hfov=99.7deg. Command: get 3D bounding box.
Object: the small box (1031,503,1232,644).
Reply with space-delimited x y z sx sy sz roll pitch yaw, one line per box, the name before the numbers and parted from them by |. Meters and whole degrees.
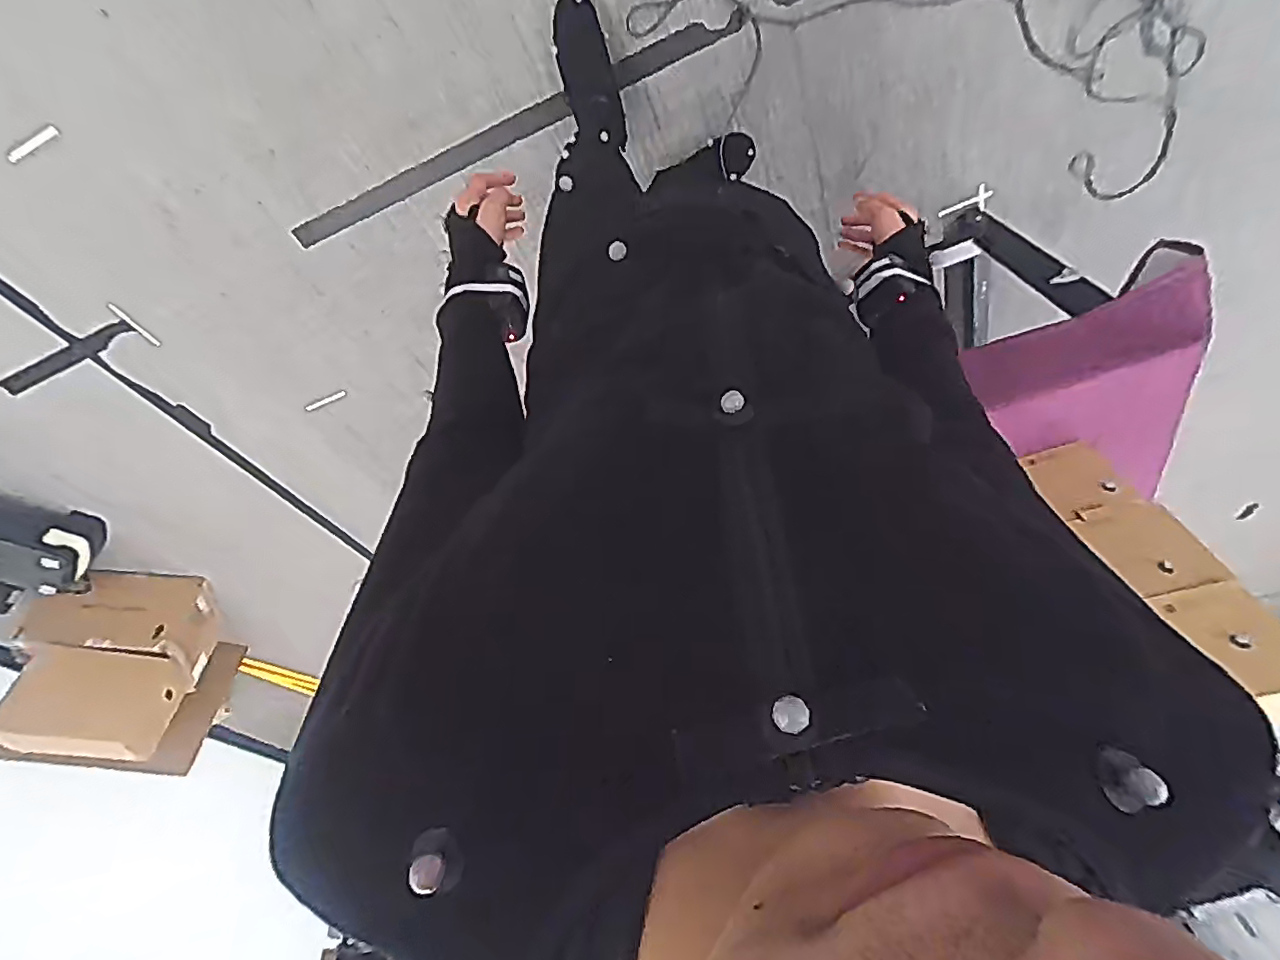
small box | 0.847 0.161 0.957 0.179 0.176 0.168 -14 134 8
